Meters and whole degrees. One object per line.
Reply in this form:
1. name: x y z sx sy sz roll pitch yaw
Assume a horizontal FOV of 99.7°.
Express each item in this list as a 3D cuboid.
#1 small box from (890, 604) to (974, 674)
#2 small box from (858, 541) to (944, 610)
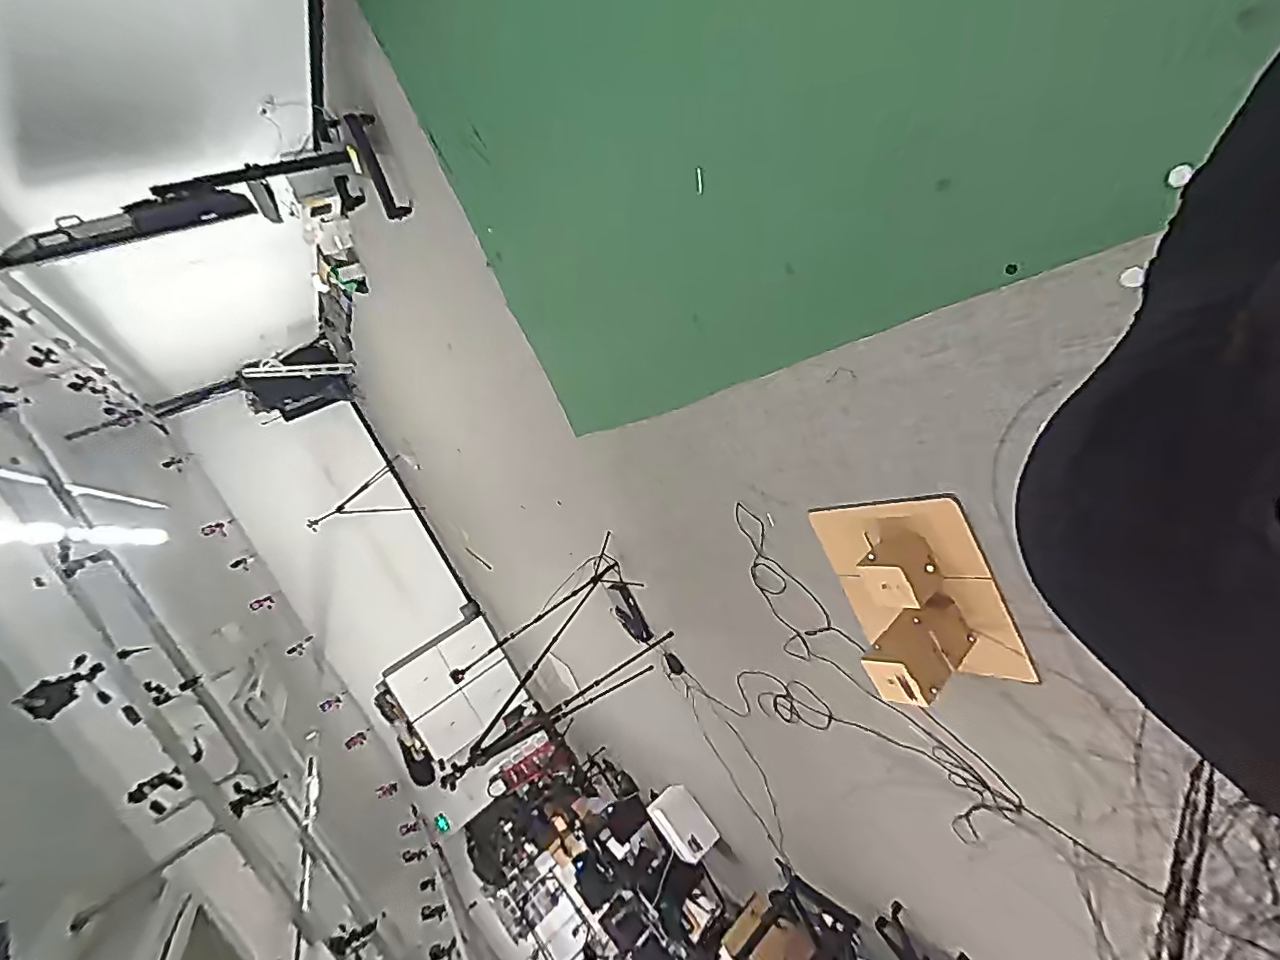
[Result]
1. small box: 1.010 0.540 1.858 0.168 0.176 0.179 60 151 -3
2. small box: 0.890 0.320 1.838 0.179 0.176 0.168 -16 105 60
